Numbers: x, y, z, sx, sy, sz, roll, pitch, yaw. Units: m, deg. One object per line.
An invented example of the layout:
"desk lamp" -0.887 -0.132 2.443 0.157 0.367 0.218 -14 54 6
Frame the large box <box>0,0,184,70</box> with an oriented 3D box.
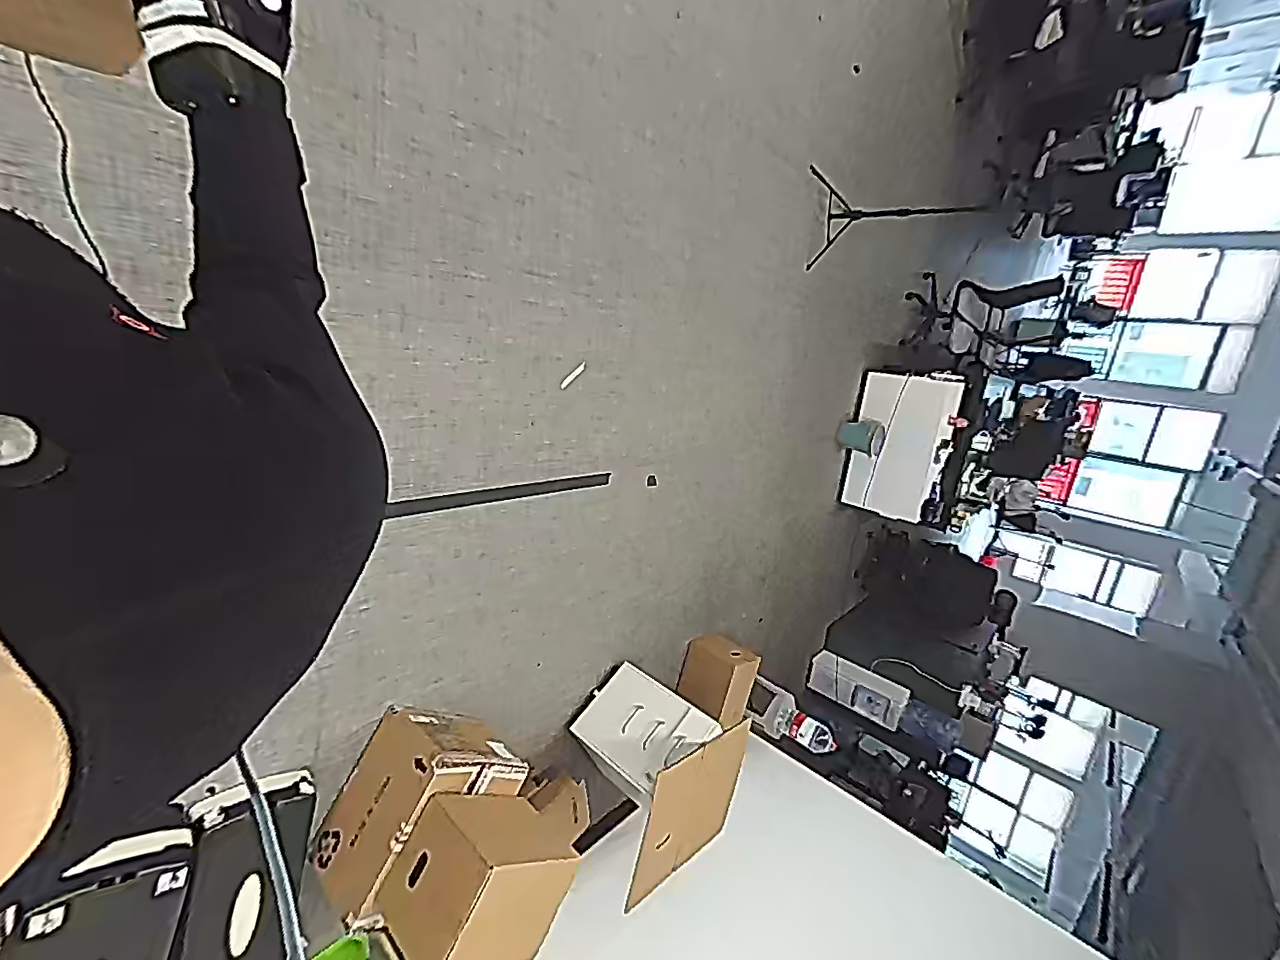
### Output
"large box" -0.545 -0.483 0.277 0.408 0.320 0.320 -15 119 -48
